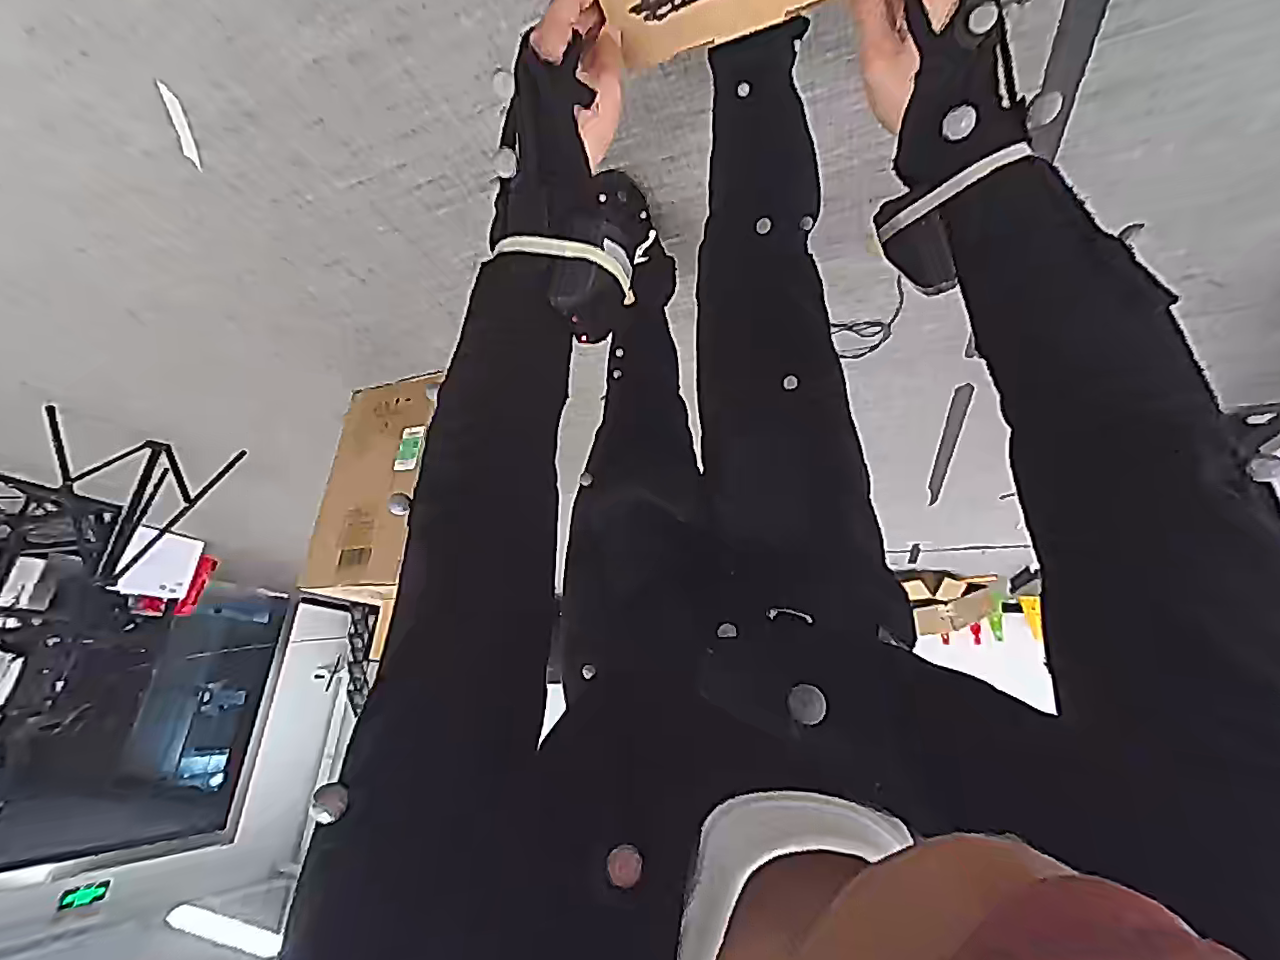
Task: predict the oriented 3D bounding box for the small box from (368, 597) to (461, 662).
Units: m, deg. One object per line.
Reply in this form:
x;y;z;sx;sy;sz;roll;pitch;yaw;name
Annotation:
-0.649;0.437;1.574;0.168;0.176;0.179;-7;158;23;small box
